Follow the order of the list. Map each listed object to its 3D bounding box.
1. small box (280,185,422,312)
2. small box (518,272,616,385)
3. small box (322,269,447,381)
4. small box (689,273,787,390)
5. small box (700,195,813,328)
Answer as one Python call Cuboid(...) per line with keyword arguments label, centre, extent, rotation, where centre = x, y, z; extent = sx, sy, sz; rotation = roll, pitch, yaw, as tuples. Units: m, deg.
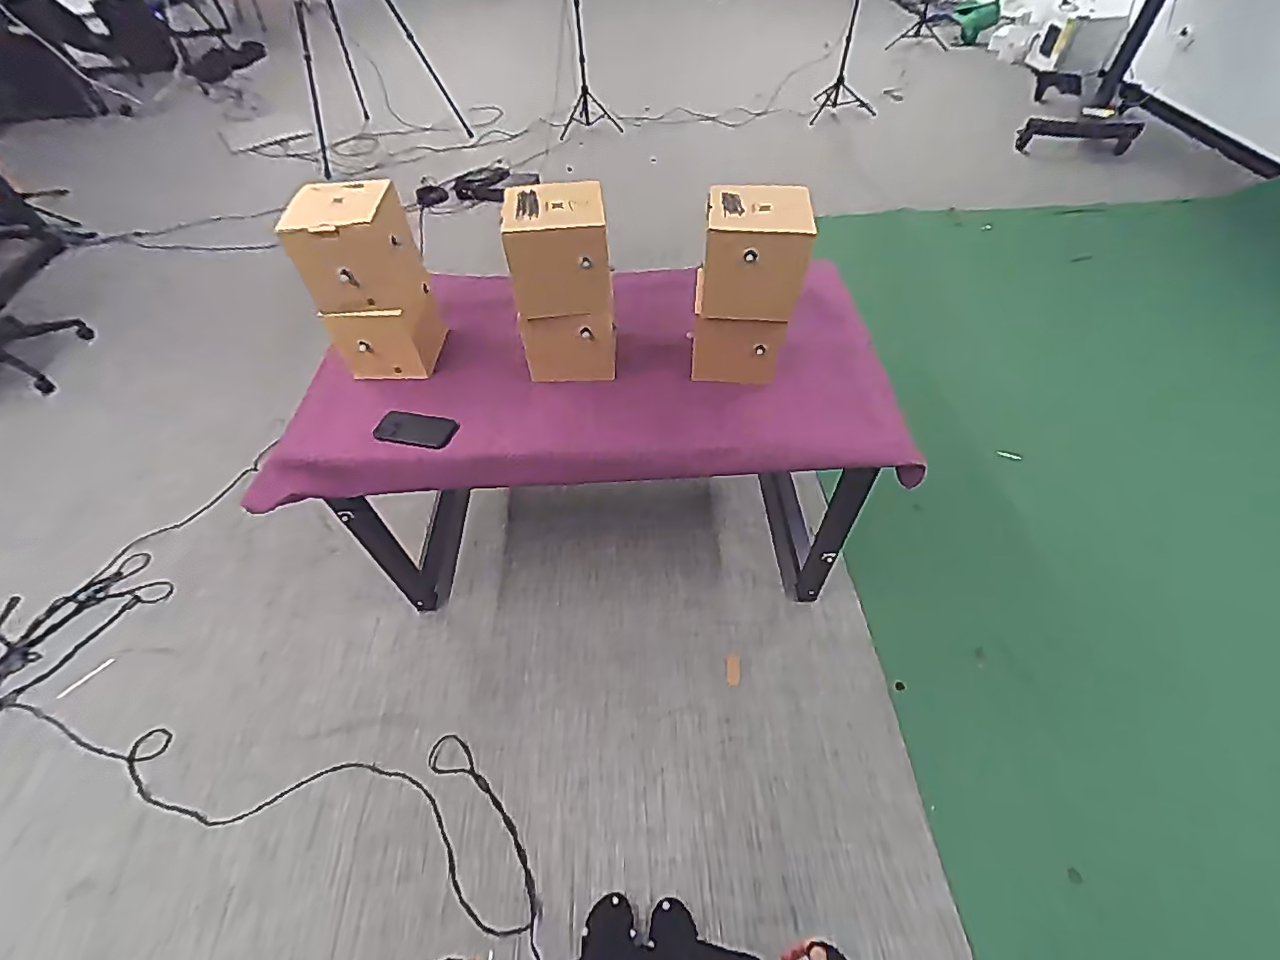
Cuboid(label="small box", centre=(-0.536, -0.436, 1.034), extent=(0.168, 0.176, 0.179), rotation=(-3, 52, -2))
Cuboid(label="small box", centre=(-0.142, -0.313, 1.132), extent=(0.179, 0.176, 0.168), rotation=(0, 51, 2))
Cuboid(label="small box", centre=(-0.532, -0.327, 1.158), extent=(0.168, 0.176, 0.179), rotation=(0, 51, 2))
Cuboid(label="small box", centre=(0.198, -0.303, 1.114), extent=(0.179, 0.176, 0.168), rotation=(5, 51, 6))
Cuboid(label="small box", centre=(0.202, -0.392, 0.977), extent=(0.179, 0.176, 0.168), rotation=(5, 52, 5))
